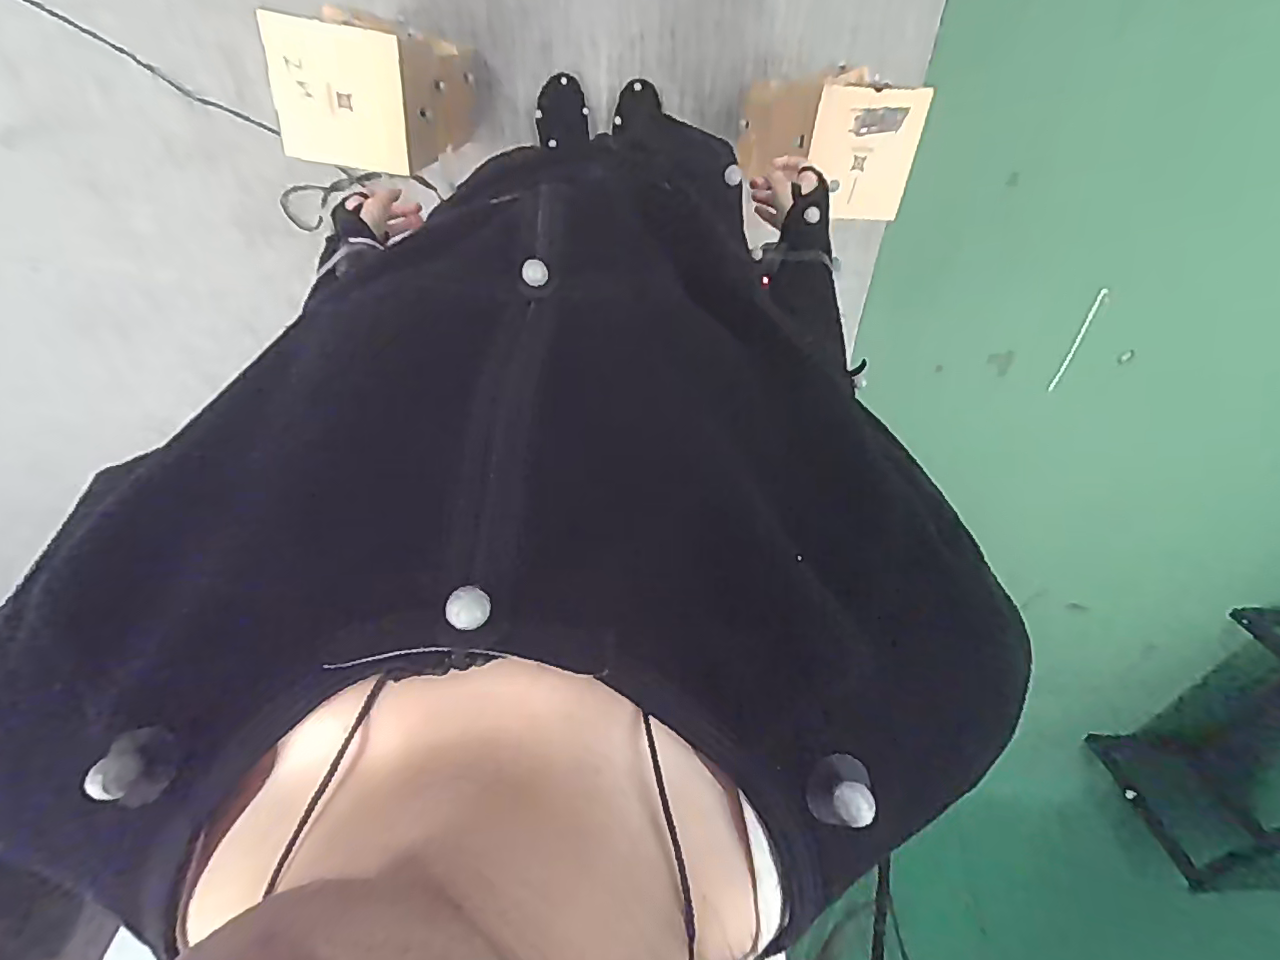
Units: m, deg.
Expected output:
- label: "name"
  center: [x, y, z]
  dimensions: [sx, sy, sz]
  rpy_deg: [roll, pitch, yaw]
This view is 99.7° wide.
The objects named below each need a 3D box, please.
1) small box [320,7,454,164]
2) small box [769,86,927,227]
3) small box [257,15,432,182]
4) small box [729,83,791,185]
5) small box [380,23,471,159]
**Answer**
- label: "small box"
  center: [-0.434, -0.662, 0.933]
  dimensions: [0.168, 0.176, 0.179]
  rpy_deg: [17, 124, -15]
- label: "small box"
  center: [0.321, -0.528, 0.880]
  dimensions: [0.168, 0.176, 0.179]
  rpy_deg: [0, 129, -5]
- label: "small box"
  center: [-0.416, -0.561, 0.803]
  dimensions: [0.179, 0.176, 0.168]
  rpy_deg: [6, 125, -7]
- label: "small box"
  center: [0.302, -0.723, 1.145]
  dimensions: [0.179, 0.176, 0.168]
  rpy_deg: [7, 127, -9]
- label: "small box"
  center: [-0.435, -0.762, 1.060]
  dimensions: [0.168, 0.176, 0.179]
  rpy_deg: [12, 126, -12]
